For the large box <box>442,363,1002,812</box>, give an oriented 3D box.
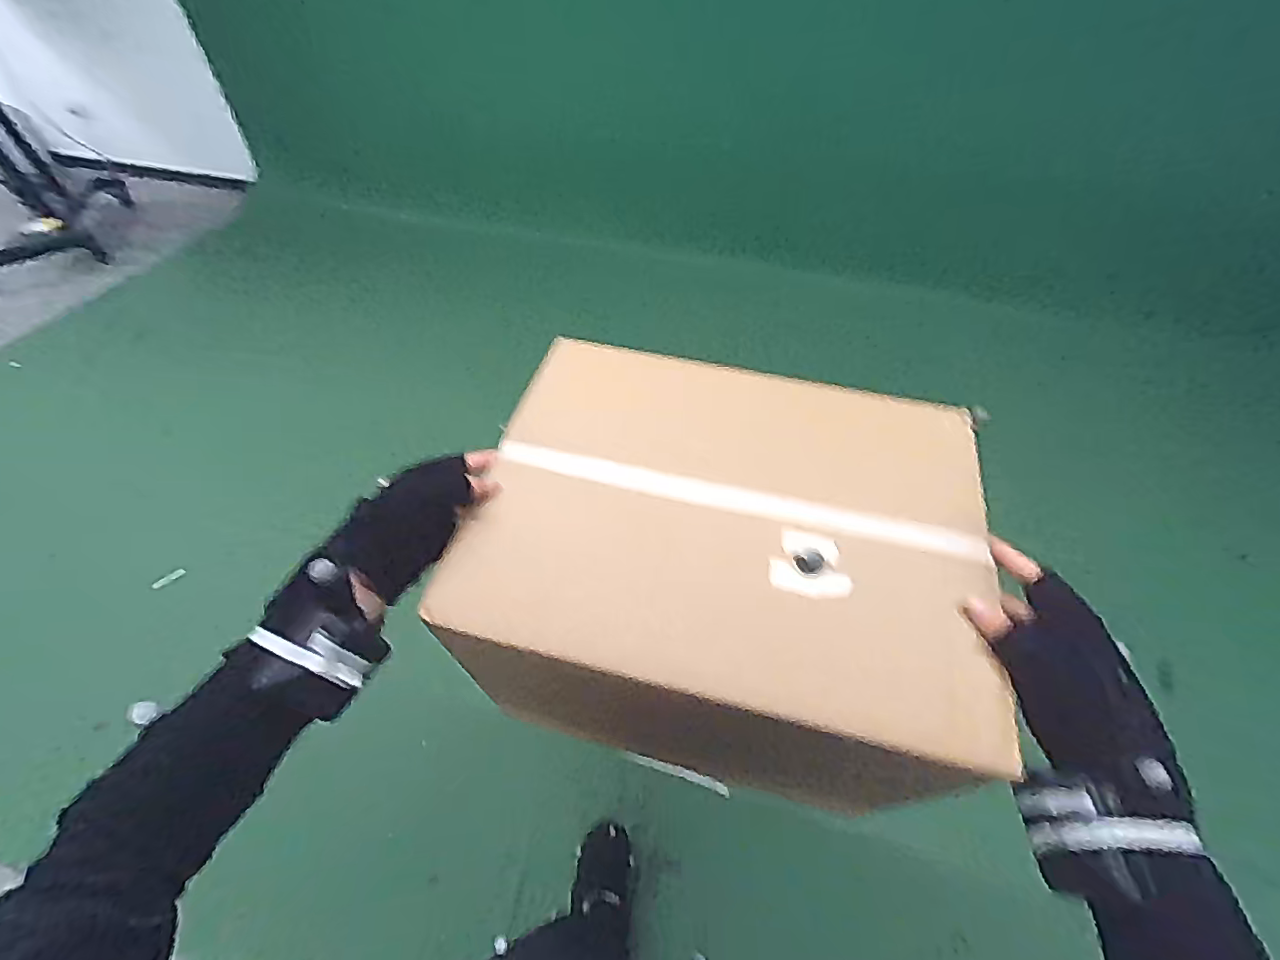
[{"bbox_3d":[0.075,0.117,0.580,0.408,0.320,0.320,11,55,8],"label":"large box"}]
